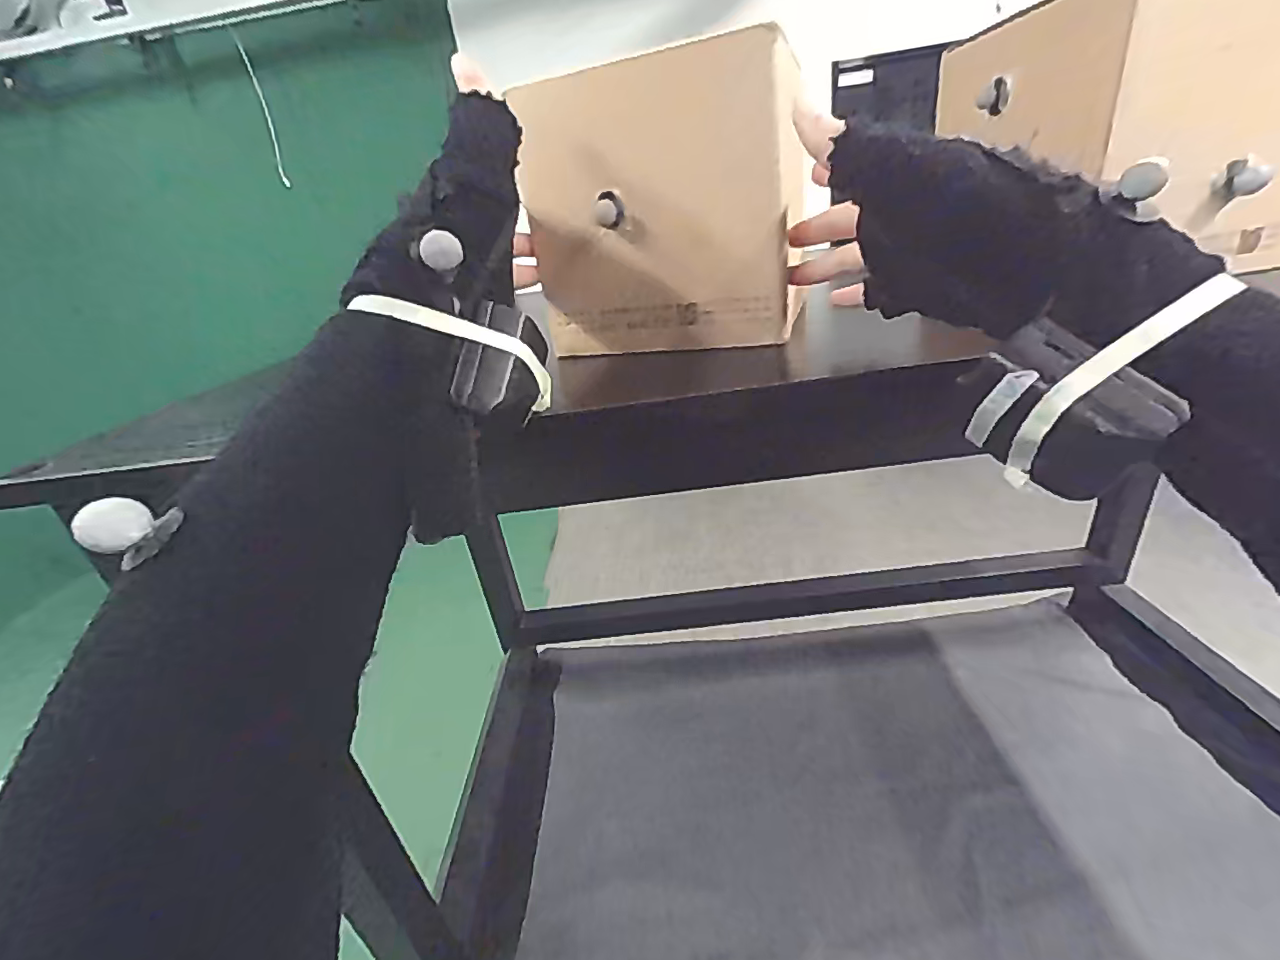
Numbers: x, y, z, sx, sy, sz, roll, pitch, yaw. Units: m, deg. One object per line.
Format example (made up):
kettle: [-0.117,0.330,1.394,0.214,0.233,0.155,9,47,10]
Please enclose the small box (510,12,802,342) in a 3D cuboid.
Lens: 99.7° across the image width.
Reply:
small box: [0.032,-0.204,0.409,0.168,0.176,0.179,1,26,19]
